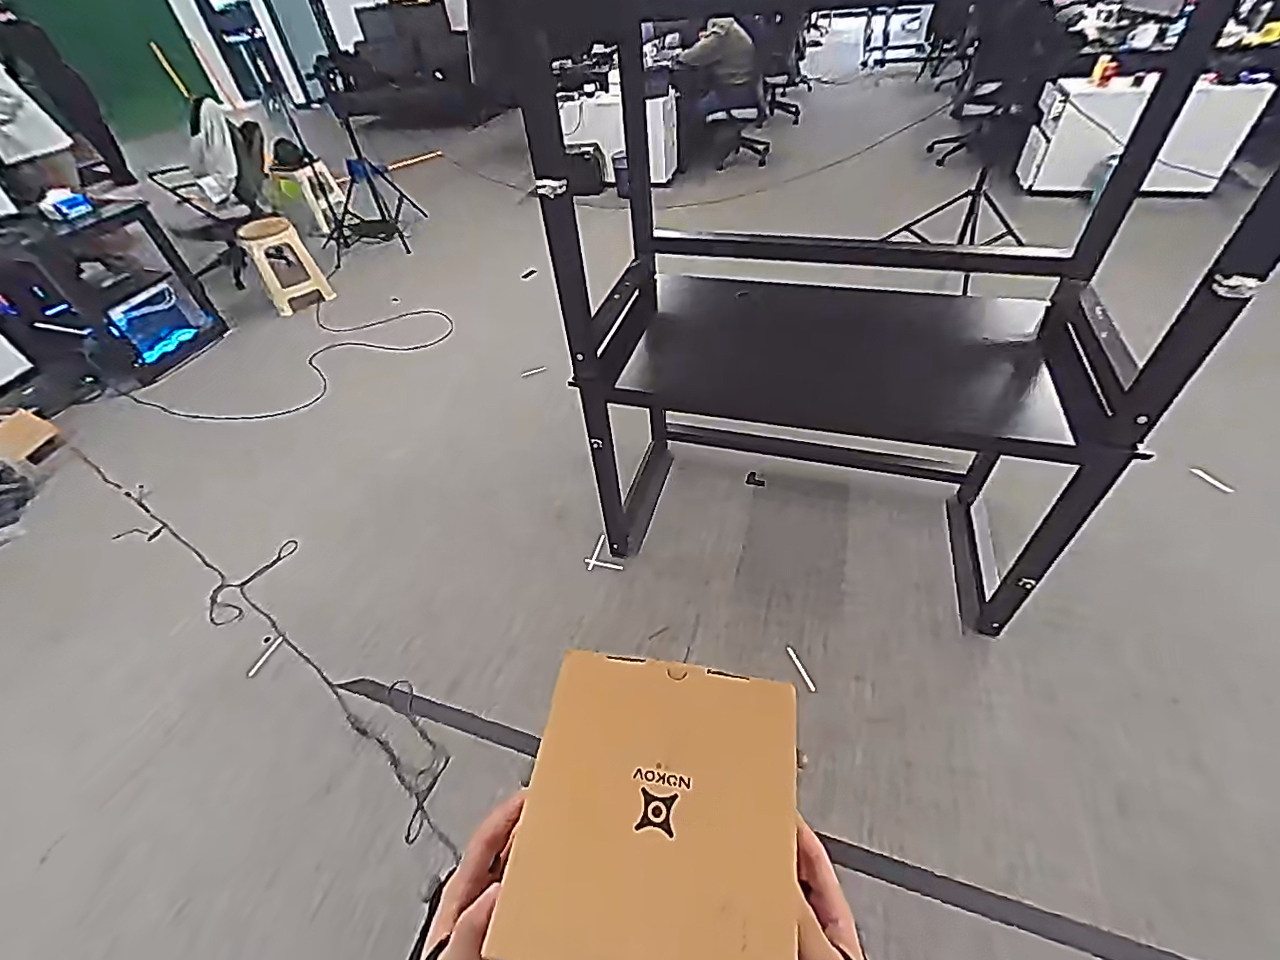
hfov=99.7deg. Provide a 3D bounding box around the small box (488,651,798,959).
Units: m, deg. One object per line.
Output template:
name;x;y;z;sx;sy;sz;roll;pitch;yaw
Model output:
small box;0.017;0.250;0.387;0.168;0.176;0.179;6;48;8
